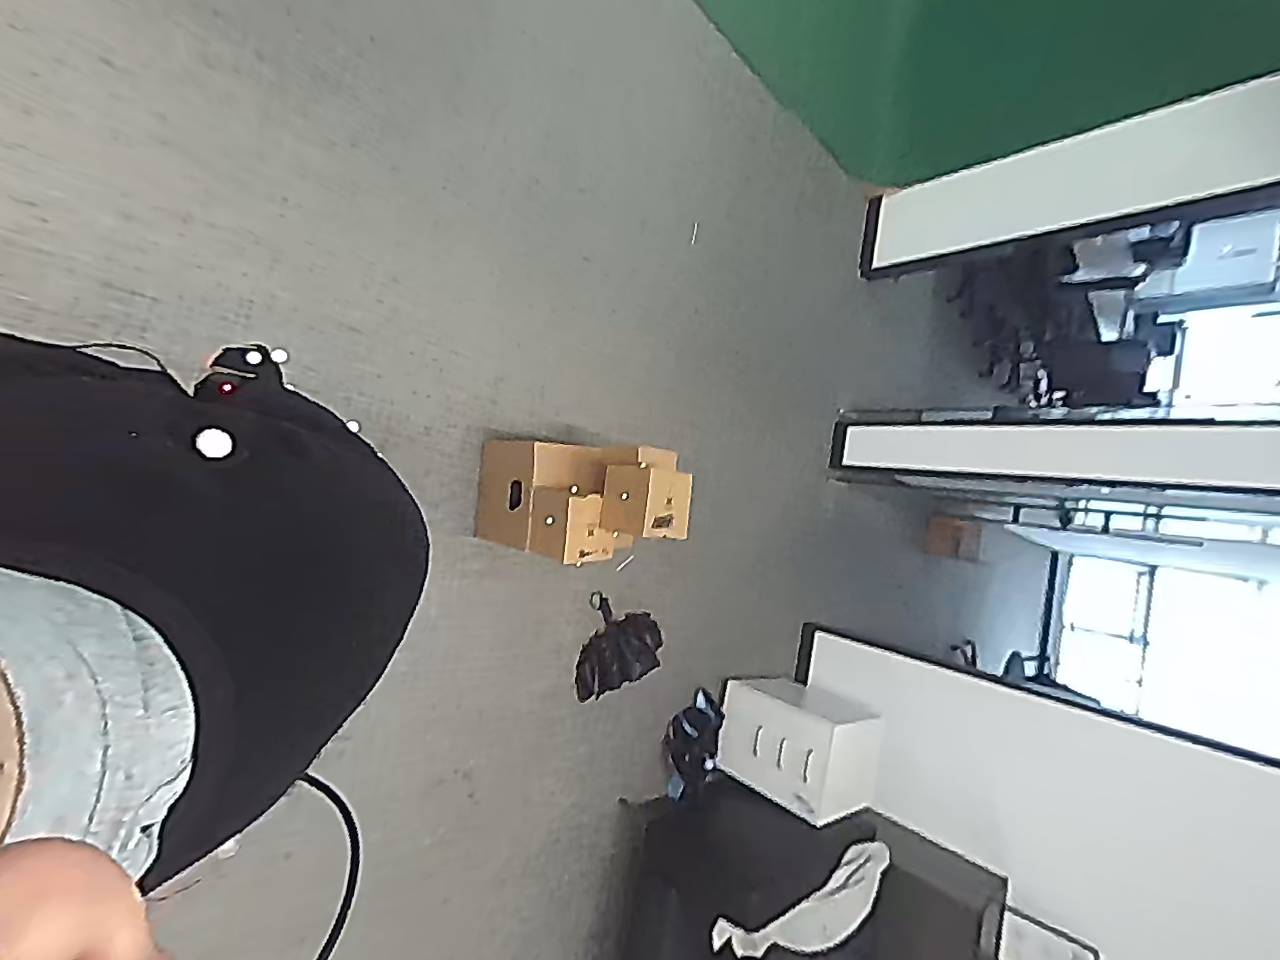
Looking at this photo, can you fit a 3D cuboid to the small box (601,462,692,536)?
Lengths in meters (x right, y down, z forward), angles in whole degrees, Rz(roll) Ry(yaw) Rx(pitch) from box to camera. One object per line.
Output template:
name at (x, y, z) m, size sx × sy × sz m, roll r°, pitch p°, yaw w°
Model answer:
small box at (0.014, 0.050, 1.440) m, size 0.168 × 0.176 × 0.179 m, roll 8°, pitch 87°, yaw -44°

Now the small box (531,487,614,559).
small box at (-0.186, 0.113, 1.485) m, size 0.168 × 0.176 × 0.179 m, roll 1°, pitch 94°, yaw -43°
